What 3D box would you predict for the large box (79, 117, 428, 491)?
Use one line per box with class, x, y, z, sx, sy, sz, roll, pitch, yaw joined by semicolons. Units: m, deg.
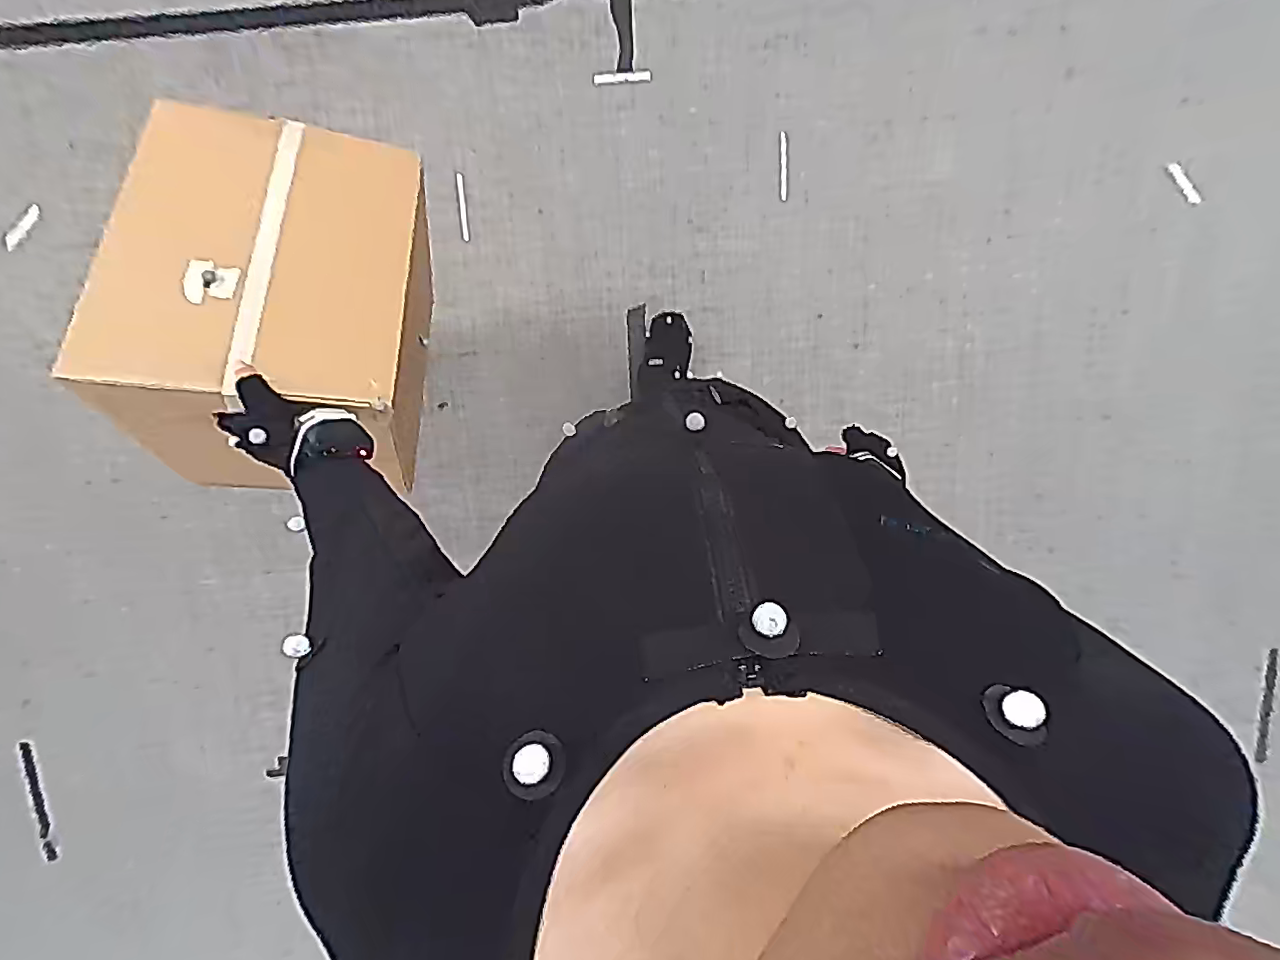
large box;-0.495;-0.226;0.804;0.320;0.320;0.408;3;69;-16
